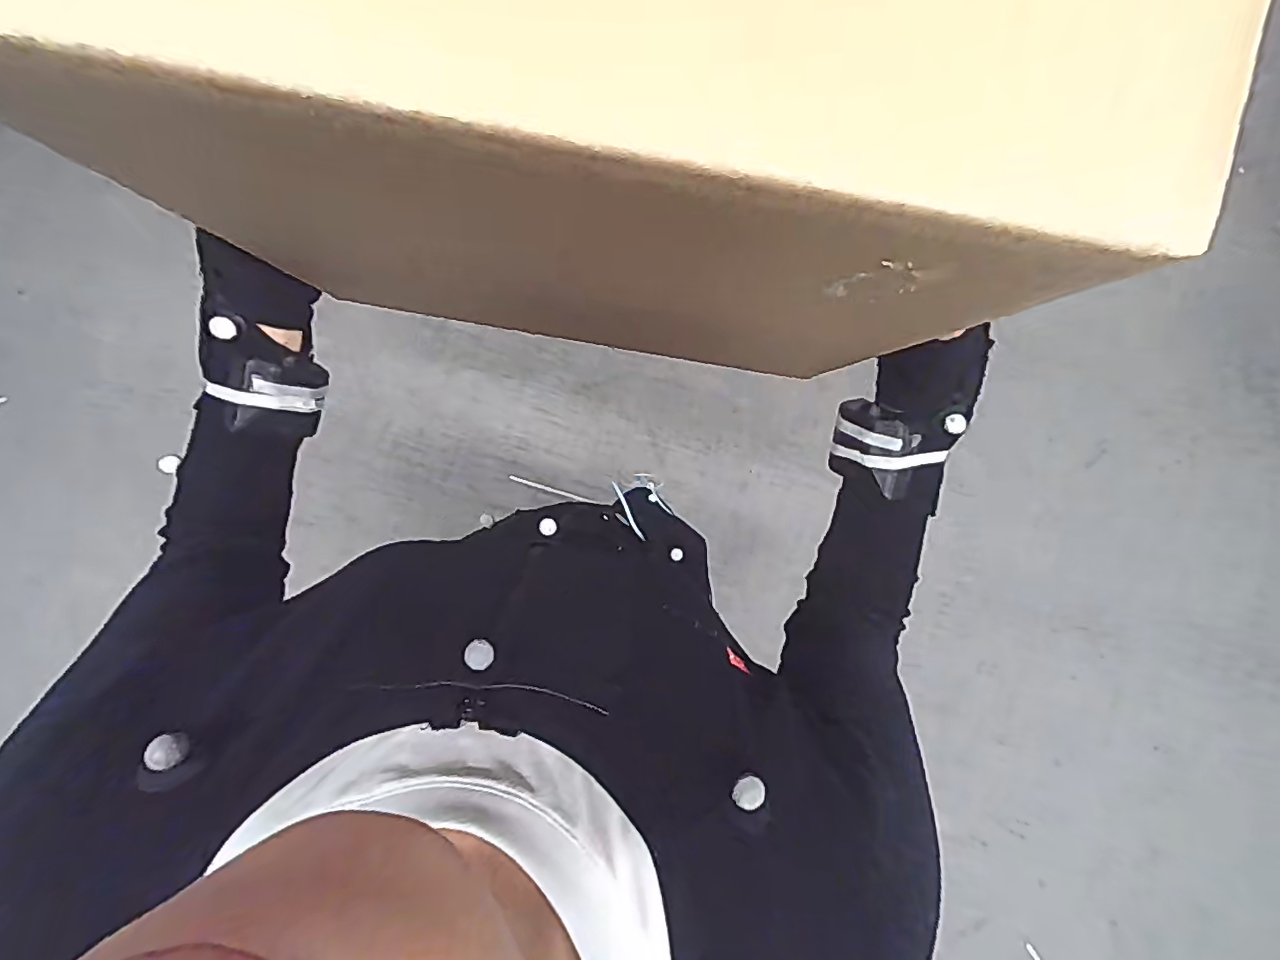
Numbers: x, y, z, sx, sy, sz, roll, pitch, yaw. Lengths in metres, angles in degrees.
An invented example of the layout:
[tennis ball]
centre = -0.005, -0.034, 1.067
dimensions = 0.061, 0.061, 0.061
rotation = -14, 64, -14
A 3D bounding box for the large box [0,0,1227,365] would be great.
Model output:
[large box]
centre = -0.013, -0.265, 0.299
dimensions = 0.408, 0.320, 0.320
rotation = 8, 94, -5
